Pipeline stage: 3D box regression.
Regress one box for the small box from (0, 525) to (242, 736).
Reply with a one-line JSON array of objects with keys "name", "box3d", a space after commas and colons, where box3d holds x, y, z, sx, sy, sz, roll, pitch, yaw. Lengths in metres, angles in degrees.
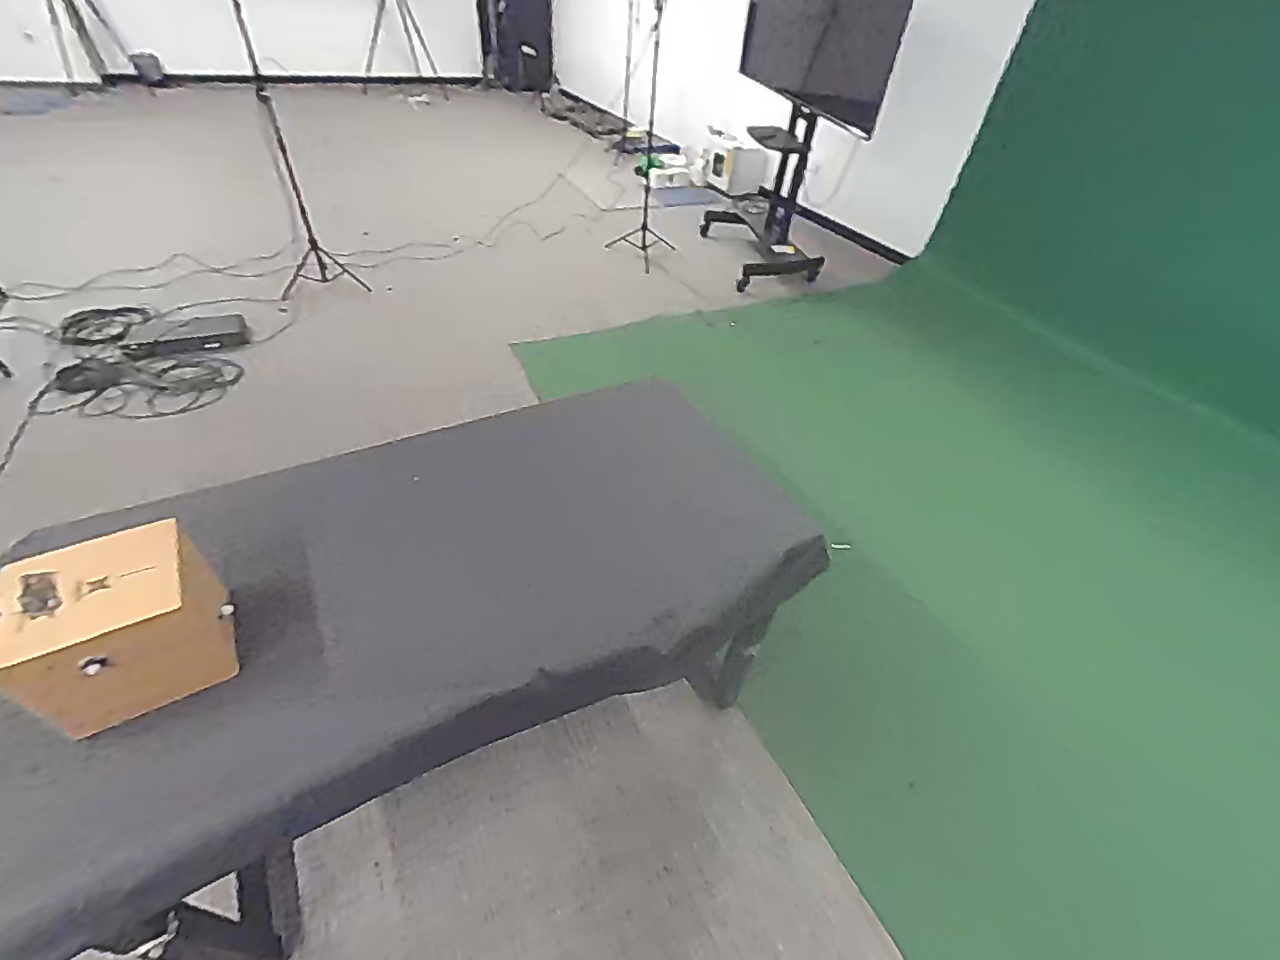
[{"name": "small box", "box3d": [-0.659, 0.194, 0.704, 0.179, 0.176, 0.168, -20, 49, -27]}]
